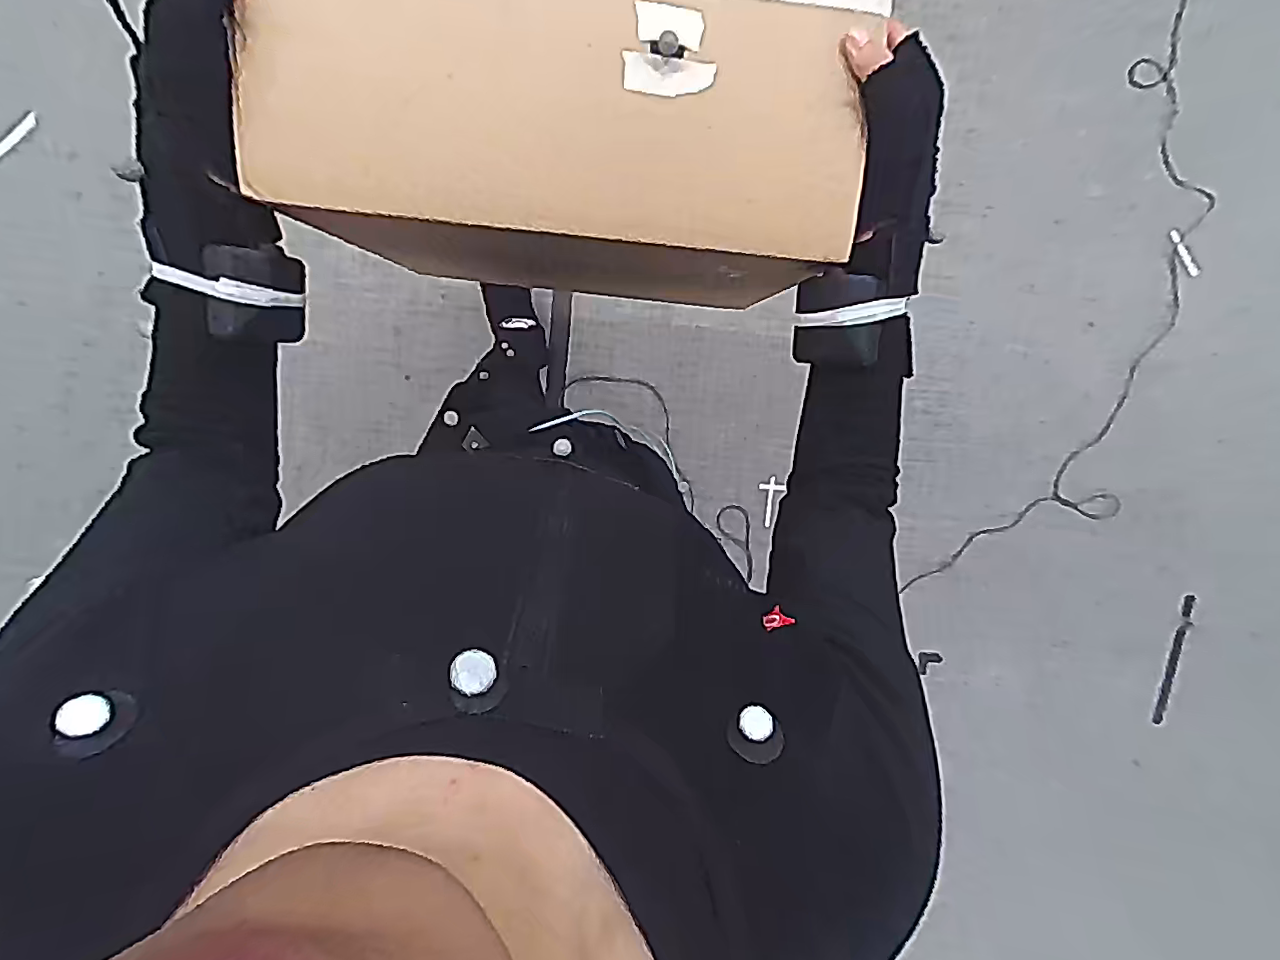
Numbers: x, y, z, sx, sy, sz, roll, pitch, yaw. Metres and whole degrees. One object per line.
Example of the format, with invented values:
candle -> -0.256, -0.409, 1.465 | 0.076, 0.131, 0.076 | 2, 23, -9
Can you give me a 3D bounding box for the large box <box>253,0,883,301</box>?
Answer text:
large box -> -0.047, -0.352, 0.486 | 0.408, 0.320, 0.320 | 5, 103, -4
